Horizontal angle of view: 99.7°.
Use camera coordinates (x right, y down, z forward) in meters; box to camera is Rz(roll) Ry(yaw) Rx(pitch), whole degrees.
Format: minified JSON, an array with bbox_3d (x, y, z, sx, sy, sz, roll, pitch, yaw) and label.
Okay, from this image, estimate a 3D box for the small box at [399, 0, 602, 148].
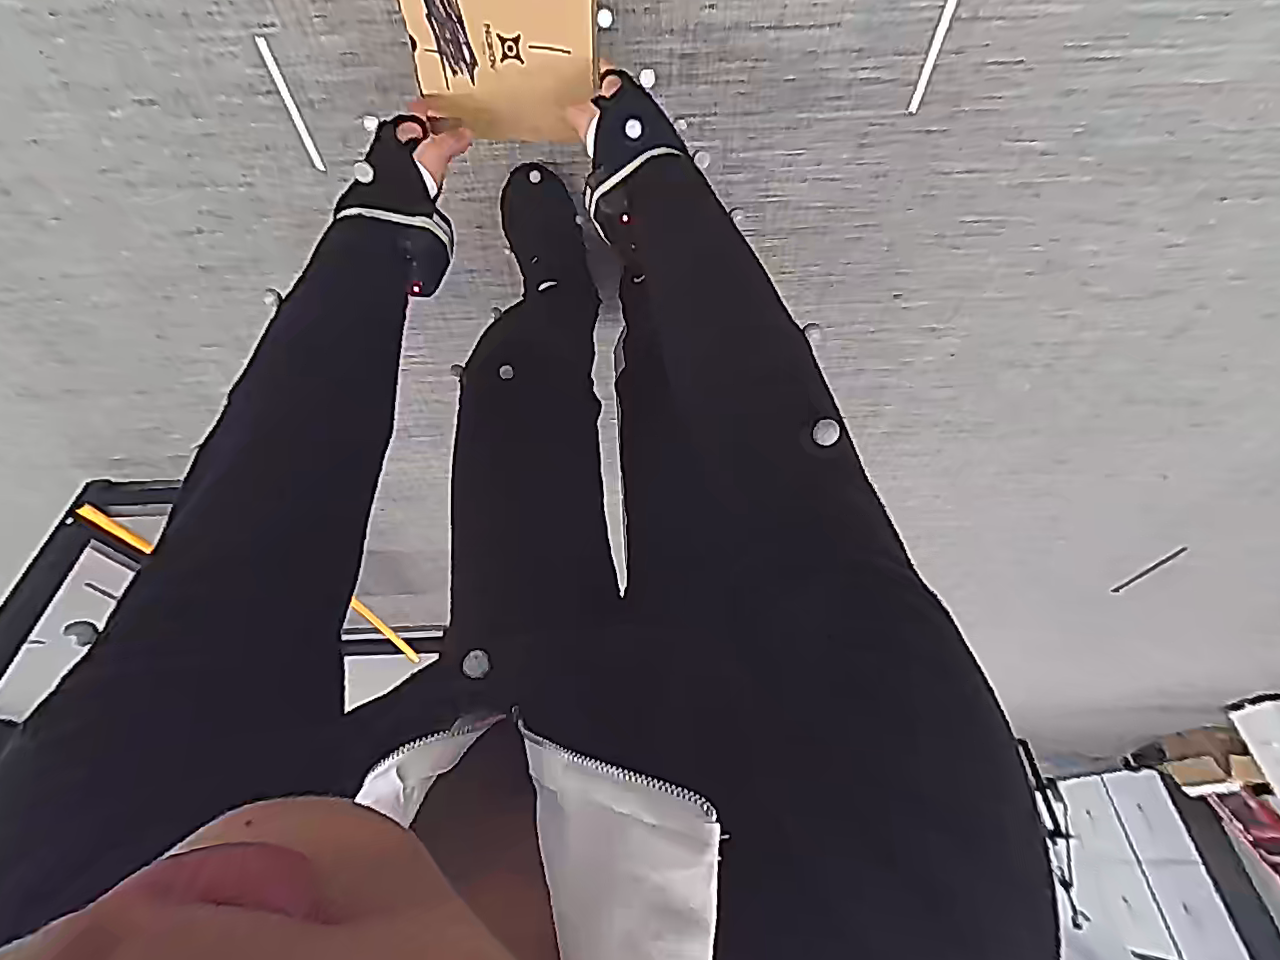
[{"bbox_3d":[-0.129,-0.470,0.554,0.179,0.176,0.168,0,146,-3],"label":"small box"}]
